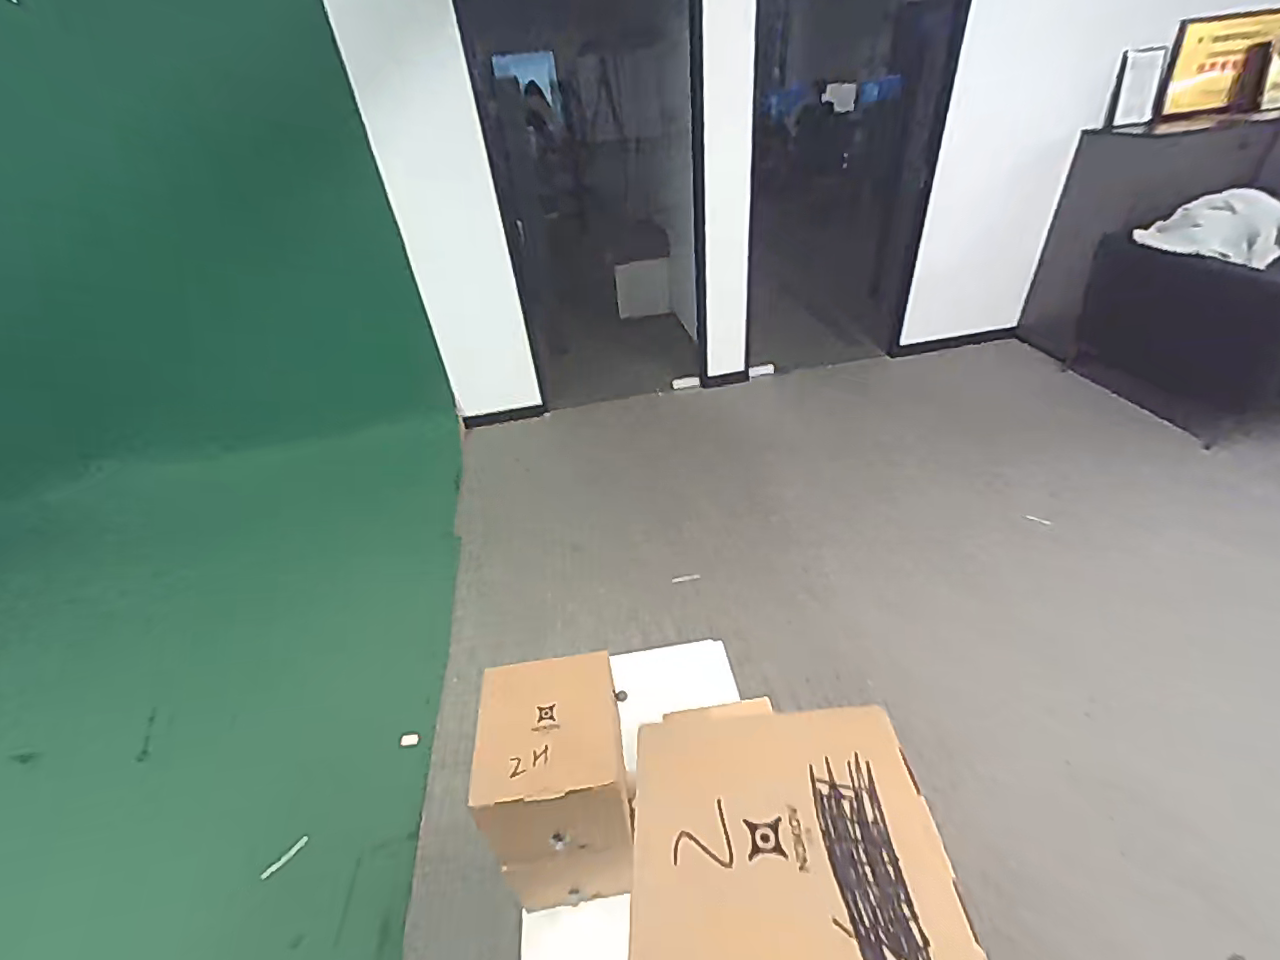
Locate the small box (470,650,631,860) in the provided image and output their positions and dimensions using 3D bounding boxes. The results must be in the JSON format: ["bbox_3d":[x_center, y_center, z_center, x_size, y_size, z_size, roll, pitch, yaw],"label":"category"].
[{"bbox_3d":[-0.106,0.352,0.698,0.168,0.176,0.179,-8,37,-2],"label":"small box"}]

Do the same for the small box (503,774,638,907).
[{"bbox_3d":[-0.097,0.485,0.794,0.168,0.176,0.179,-8,38,-4],"label":"small box"}]

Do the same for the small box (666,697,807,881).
[{"bbox_3d":[0.133,0.455,0.802,0.168,0.176,0.179,-9,37,-1],"label":"small box"}]
